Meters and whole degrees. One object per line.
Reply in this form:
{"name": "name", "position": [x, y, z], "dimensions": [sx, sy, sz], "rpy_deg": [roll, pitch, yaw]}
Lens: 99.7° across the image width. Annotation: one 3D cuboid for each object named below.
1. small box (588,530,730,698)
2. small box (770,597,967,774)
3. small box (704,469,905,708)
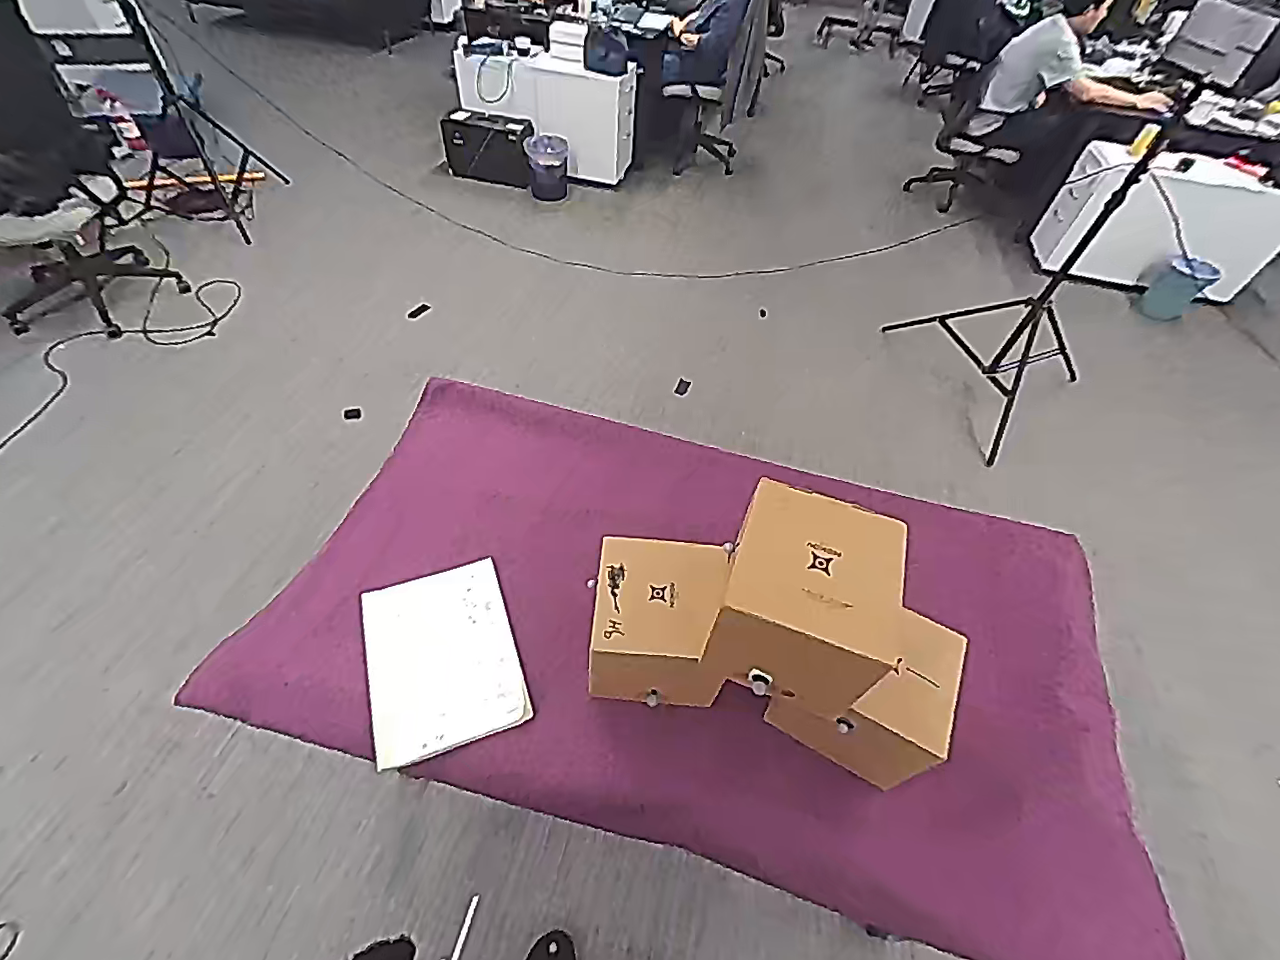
{"name": "small box", "position": [0.025, 0.192, 0.753], "dimensions": [0.179, 0.176, 0.168], "rpy_deg": [6, 49, -2]}
{"name": "small box", "position": [0.293, 0.258, 0.719], "dimensions": [0.179, 0.176, 0.168], "rpy_deg": [26, 52, 16]}
{"name": "small box", "position": [0.178, 0.123, 0.611], "dimensions": [0.168, 0.176, 0.179], "rpy_deg": [17, 51, 11]}
